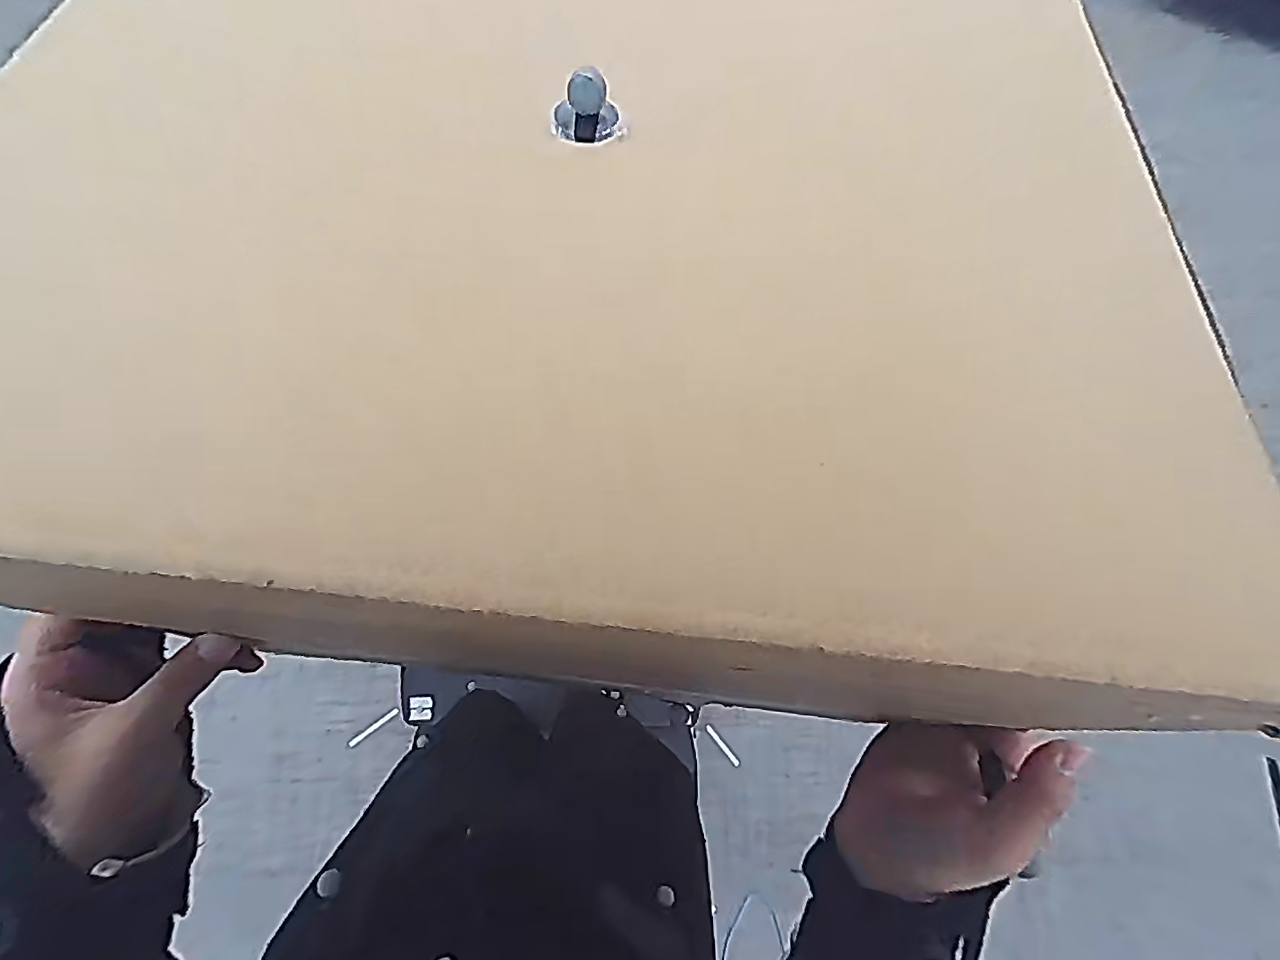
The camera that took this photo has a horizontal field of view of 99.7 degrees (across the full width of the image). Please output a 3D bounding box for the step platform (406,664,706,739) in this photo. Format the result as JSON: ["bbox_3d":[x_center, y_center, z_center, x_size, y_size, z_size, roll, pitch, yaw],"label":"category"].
[{"bbox_3d":[-0.182,0.414,1.273,0.684,0.204,0.286,6,80,-1],"label":"step platform"}]

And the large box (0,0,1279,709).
[{"bbox_3d":[-0.039,-0.055,0.319,0.408,0.320,0.320,5,68,1],"label":"large box"}]
